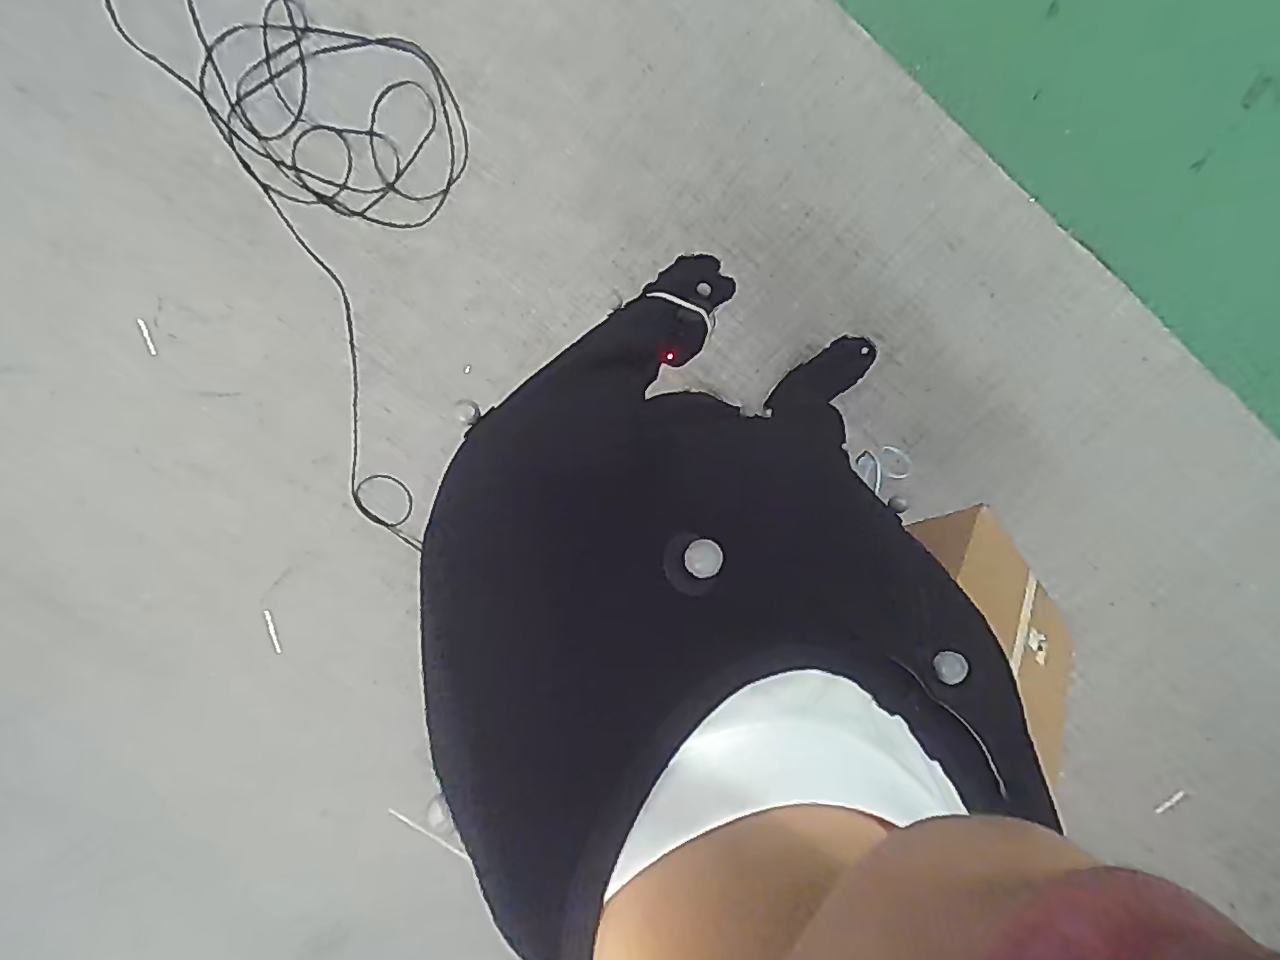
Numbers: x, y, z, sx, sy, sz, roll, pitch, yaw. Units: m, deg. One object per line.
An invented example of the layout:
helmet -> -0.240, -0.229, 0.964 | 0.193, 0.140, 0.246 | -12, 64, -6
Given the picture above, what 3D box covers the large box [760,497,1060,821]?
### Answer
large box -> 0.484, 0.300, 0.963 | 0.320, 0.408, 0.320 | 54, 140, -7
